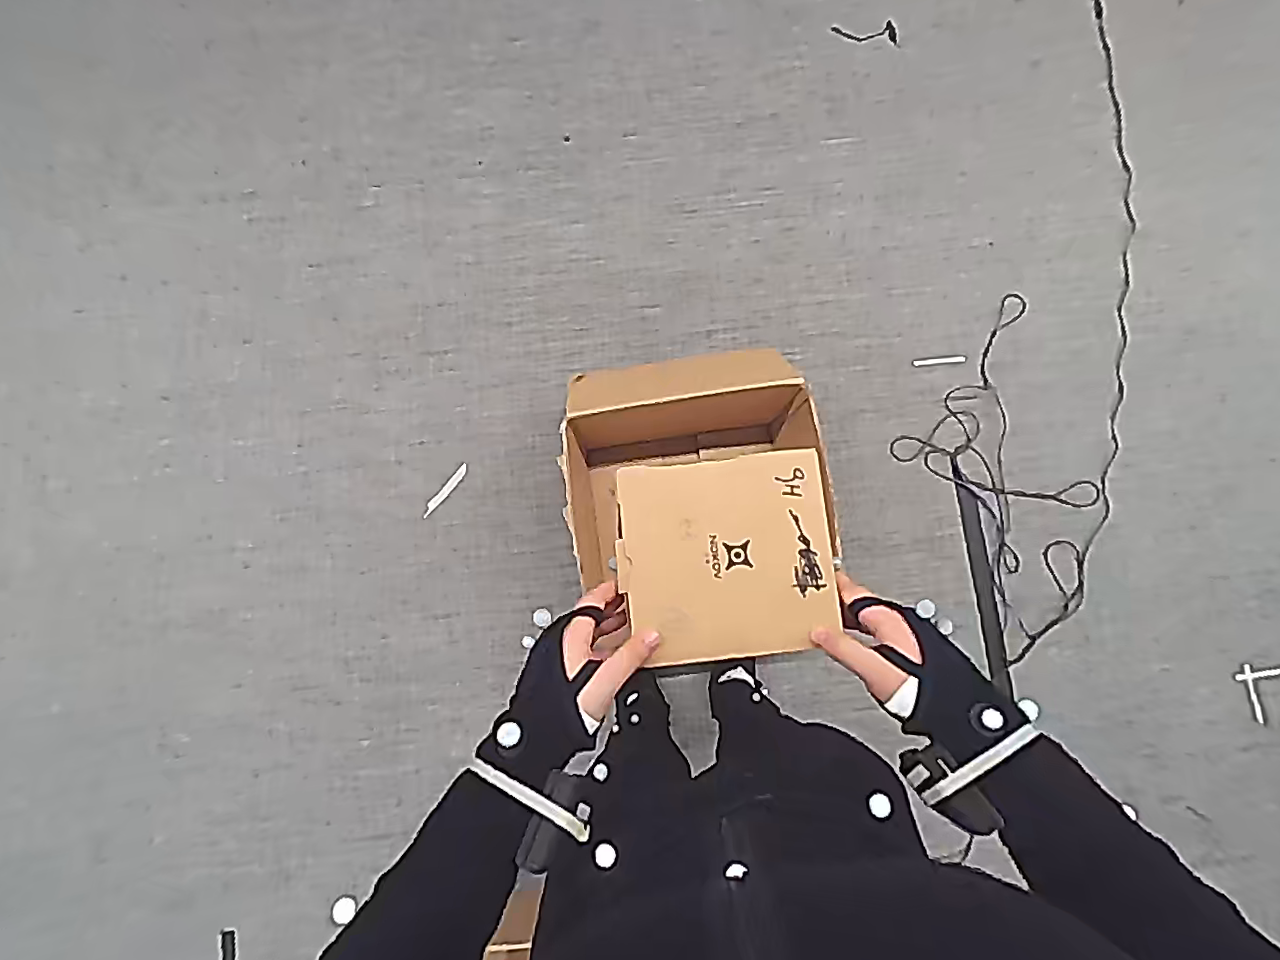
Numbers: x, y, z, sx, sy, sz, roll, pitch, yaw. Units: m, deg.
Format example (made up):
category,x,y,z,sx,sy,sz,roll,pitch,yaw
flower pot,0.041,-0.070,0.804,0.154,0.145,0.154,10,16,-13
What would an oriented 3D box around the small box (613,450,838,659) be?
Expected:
category,x,y,z,sx,sy,sz,roll,pitch,yaw
small box,0.072,0.073,0.536,0.179,0.176,0.168,-6,82,0
